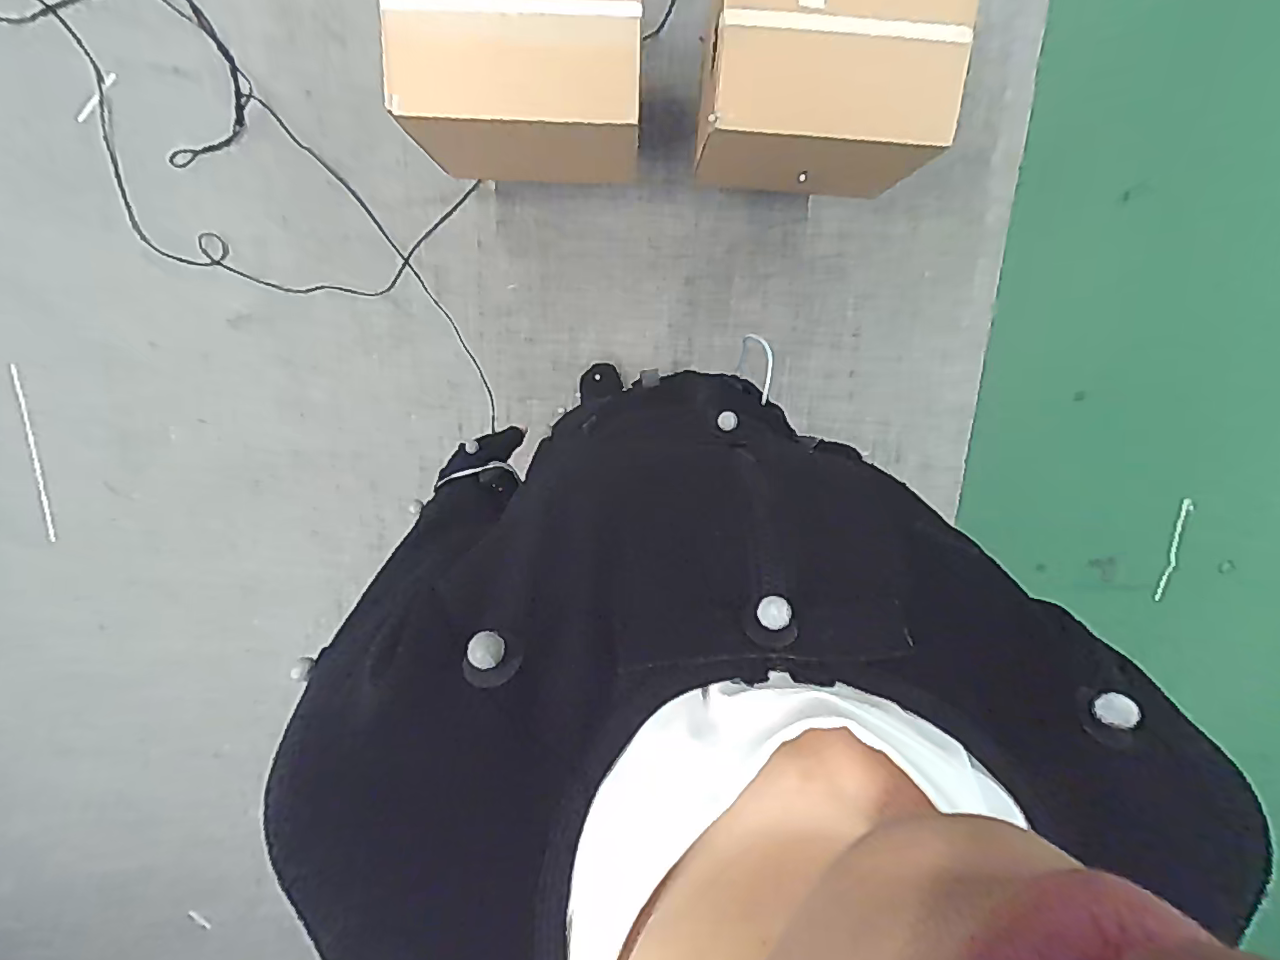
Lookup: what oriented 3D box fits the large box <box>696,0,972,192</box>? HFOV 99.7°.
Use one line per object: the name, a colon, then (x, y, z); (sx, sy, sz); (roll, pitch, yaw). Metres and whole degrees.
large box: (0.332, -0.760, 1.022); (0.408, 0.320, 0.320); (4, 103, -2)
